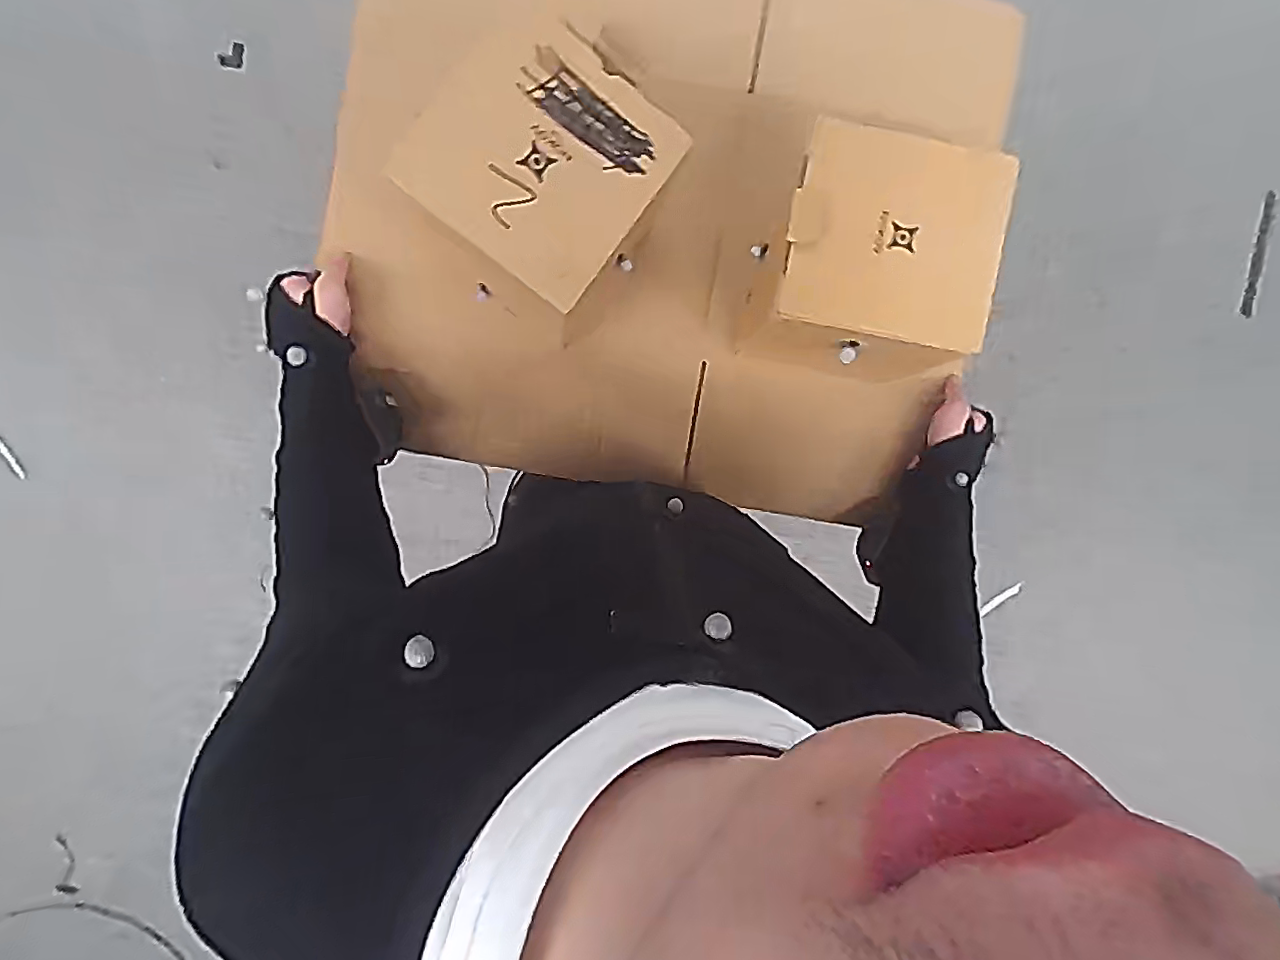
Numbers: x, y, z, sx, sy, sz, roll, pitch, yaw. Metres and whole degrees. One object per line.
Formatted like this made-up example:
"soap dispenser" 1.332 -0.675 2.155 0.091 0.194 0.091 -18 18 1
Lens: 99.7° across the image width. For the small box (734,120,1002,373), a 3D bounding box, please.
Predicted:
"small box" 0.206 -0.210 0.538 0.179 0.176 0.168 10 91 -1
